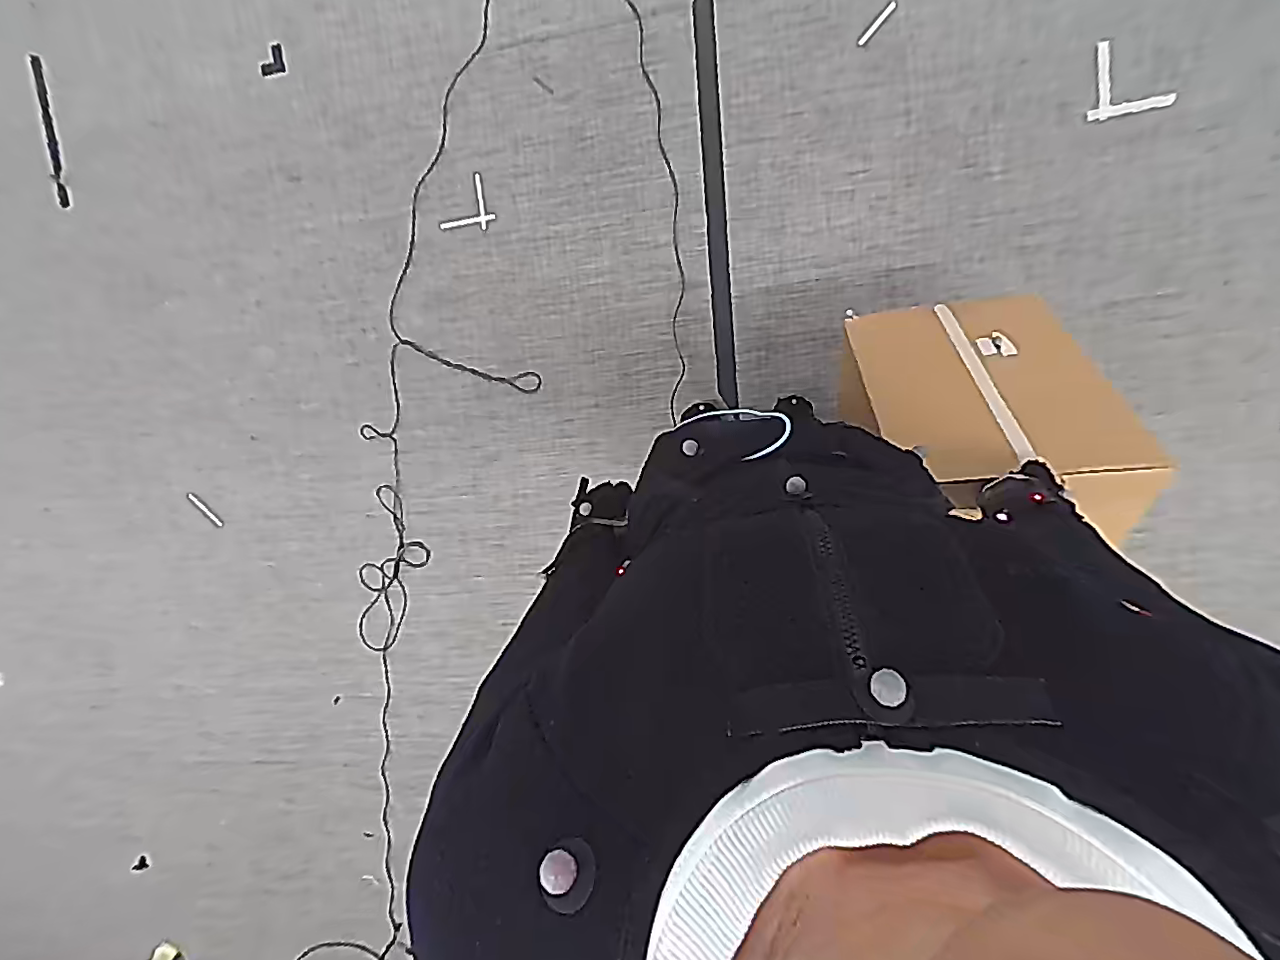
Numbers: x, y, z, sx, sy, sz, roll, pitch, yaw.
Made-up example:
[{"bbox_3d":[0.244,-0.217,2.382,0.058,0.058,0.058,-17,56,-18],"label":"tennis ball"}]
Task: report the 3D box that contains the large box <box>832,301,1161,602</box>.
[{"bbox_3d":[0.531,-0.048,0.926,0.320,0.408,0.320,-4,136,9],"label":"large box"}]
